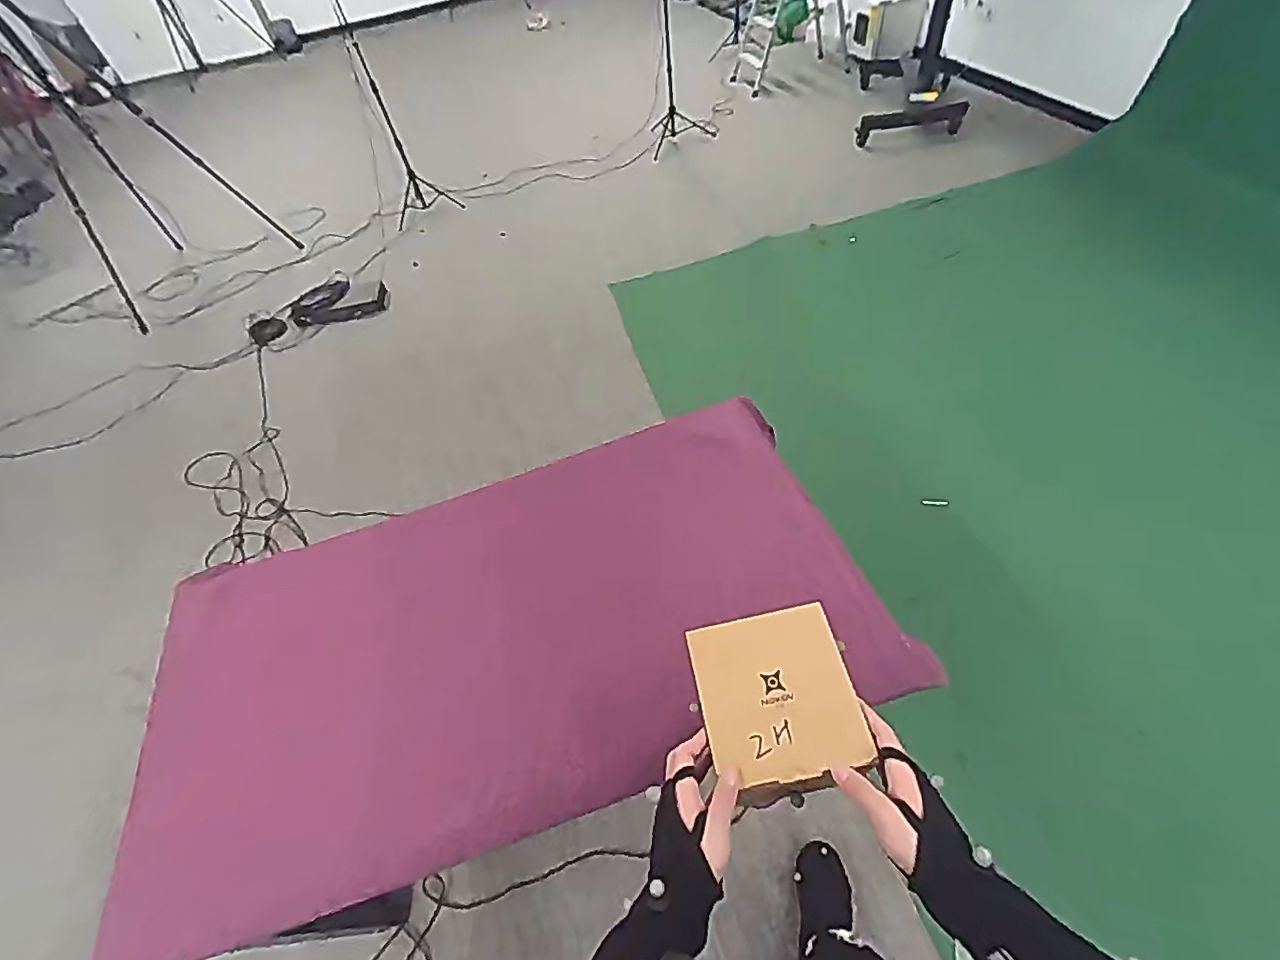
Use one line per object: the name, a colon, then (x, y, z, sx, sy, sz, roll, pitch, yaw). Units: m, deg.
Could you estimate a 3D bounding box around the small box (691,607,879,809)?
small box: (0.163, 0.281, 0.658, 0.168, 0.176, 0.179, -13, 53, 4)
